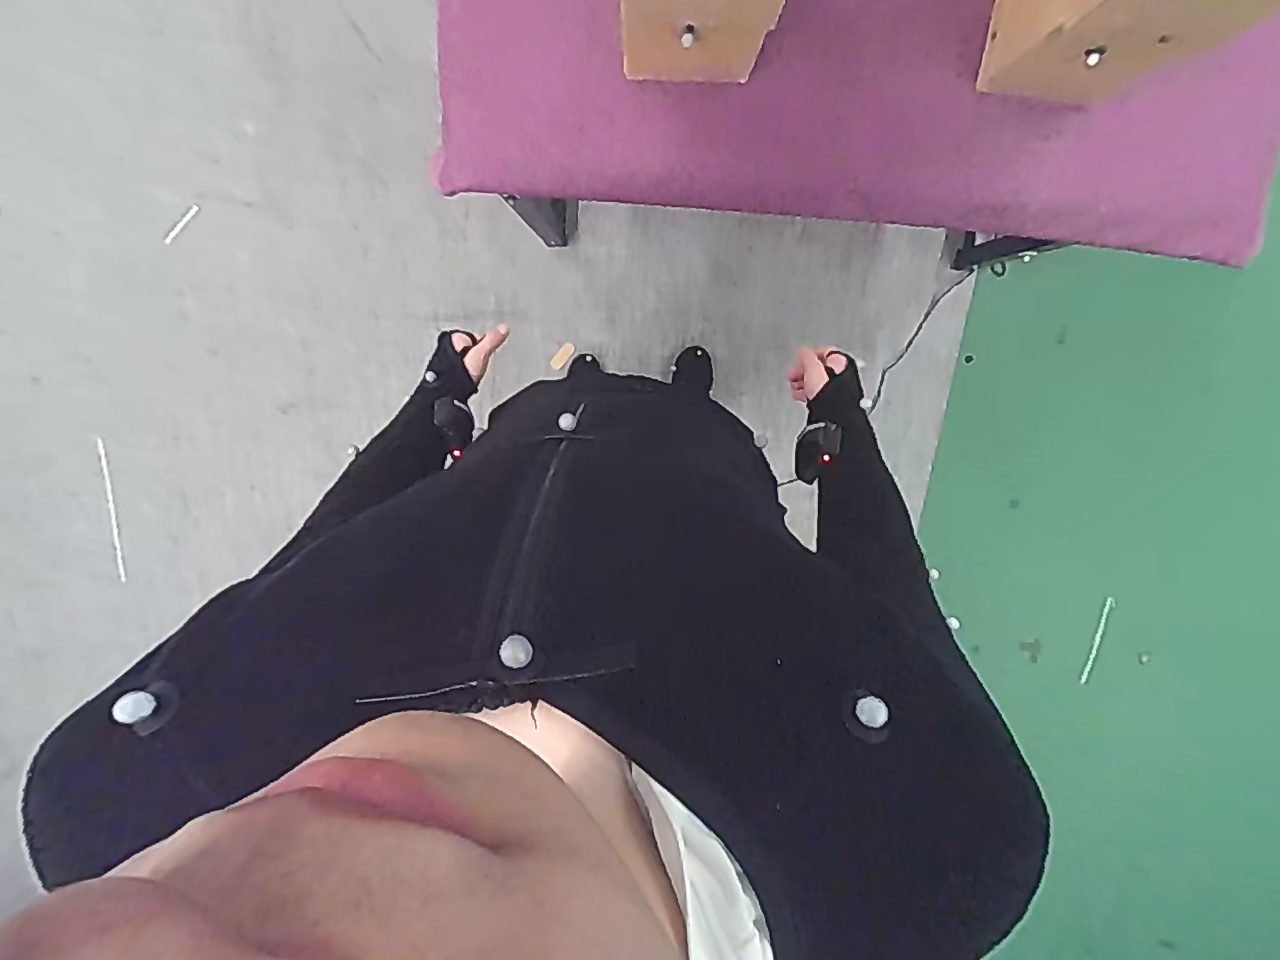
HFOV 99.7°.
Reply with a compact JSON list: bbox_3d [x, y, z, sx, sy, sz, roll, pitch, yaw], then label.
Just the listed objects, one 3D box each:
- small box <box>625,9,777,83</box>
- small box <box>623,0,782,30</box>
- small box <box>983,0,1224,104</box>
[{"bbox_3d":[0.074,-0.629,0.677,0.179,0.176,0.168,3,104,1],"label":"small box"},{"bbox_3d":[0.072,-0.575,0.520,0.179,0.176,0.168,4,103,1],"label":"small box"},{"bbox_3d":[0.571,-0.600,0.671,0.179,0.176,0.168,7,104,-1],"label":"small box"}]
